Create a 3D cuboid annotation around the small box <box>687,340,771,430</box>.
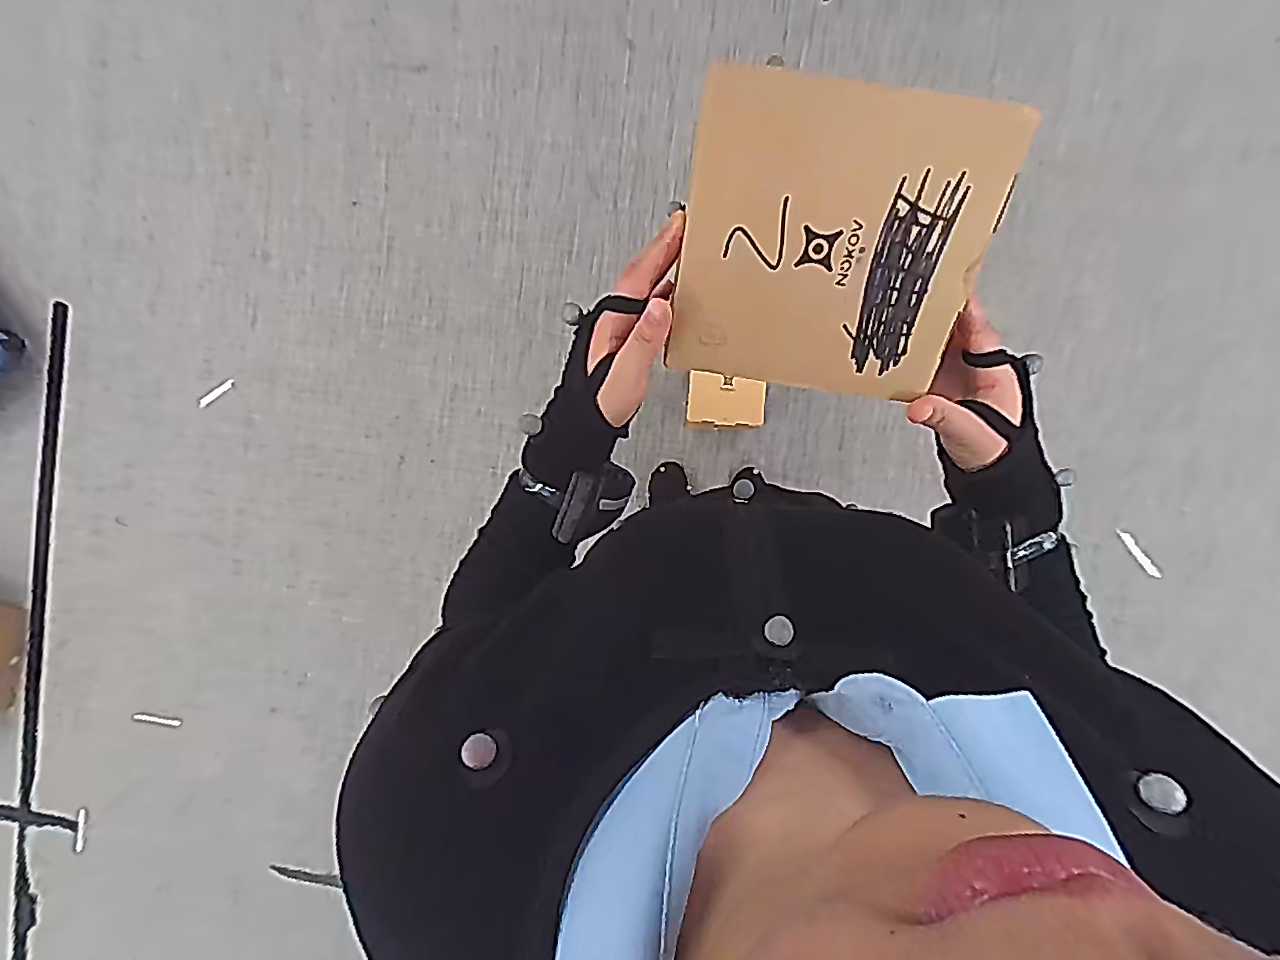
[{"bbox_3d":[0.196,-0.210,1.236,0.168,0.176,0.179,5,93,5],"label":"small box"}]
